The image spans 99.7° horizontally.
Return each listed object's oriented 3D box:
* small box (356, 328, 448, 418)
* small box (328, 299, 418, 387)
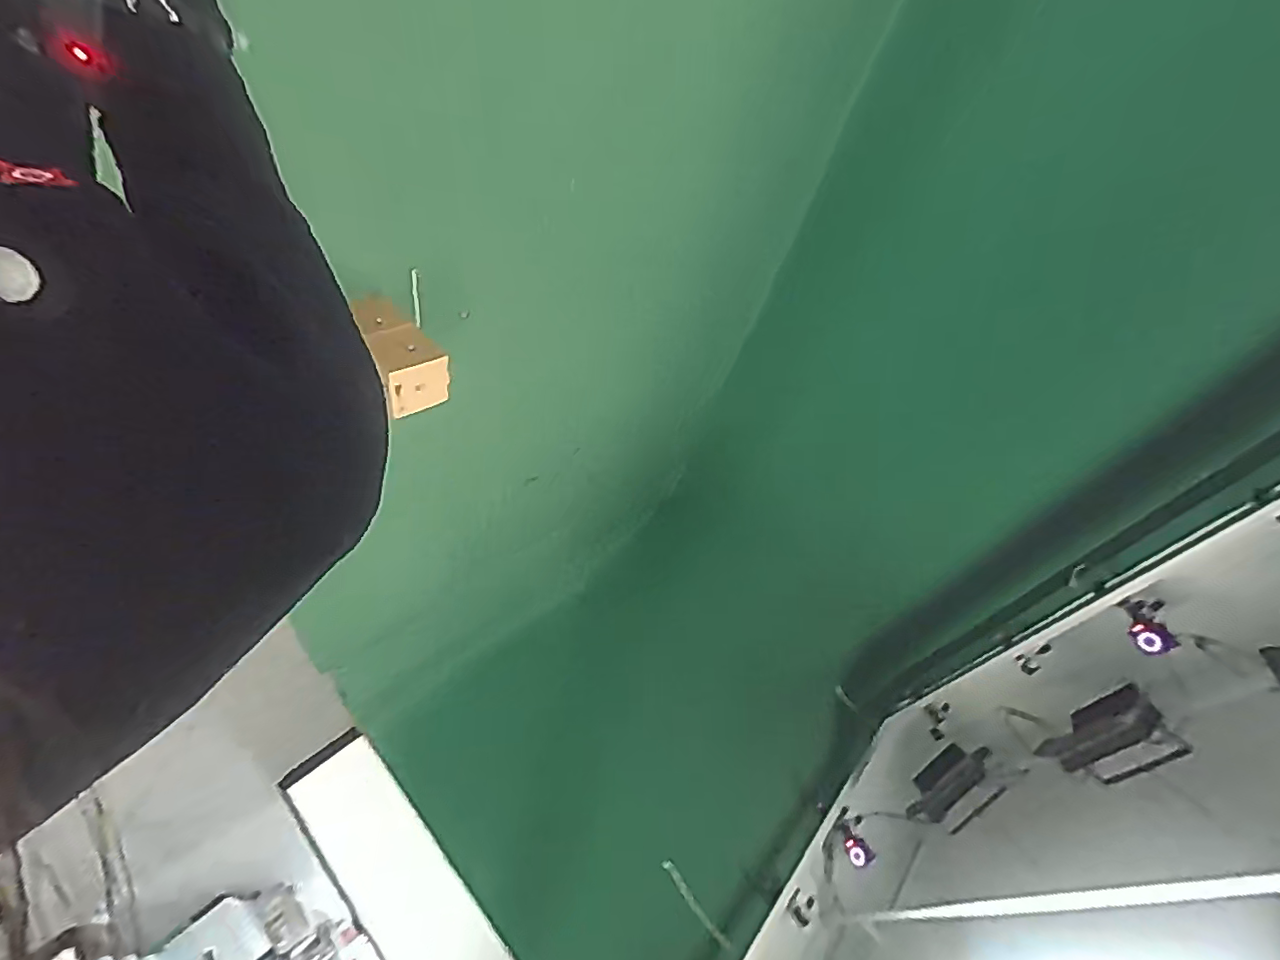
[{"bbox_3d":[-0.669,-0.311,1.530,0.179,0.176,0.168,-34,155,-38],"label":"small box"},{"bbox_3d":[-0.771,-0.404,1.575,0.179,0.176,0.168,-32,153,-38],"label":"small box"}]
